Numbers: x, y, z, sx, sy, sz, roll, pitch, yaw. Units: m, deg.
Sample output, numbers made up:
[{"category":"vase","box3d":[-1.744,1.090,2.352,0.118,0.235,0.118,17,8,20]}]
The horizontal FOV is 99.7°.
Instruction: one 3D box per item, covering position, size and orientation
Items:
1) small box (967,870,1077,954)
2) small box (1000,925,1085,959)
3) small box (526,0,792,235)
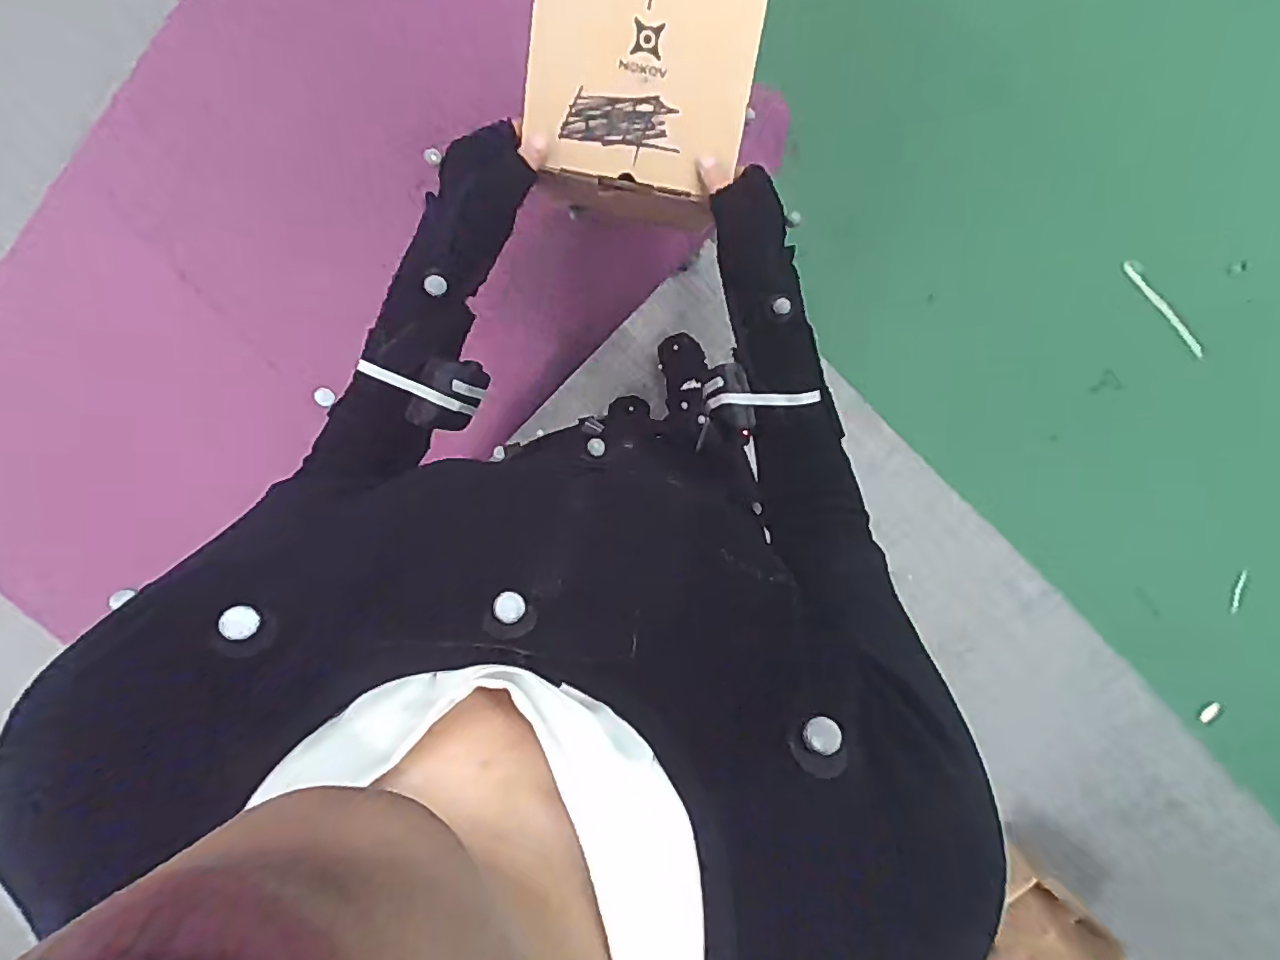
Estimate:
[{"category":"small box","box3d":[1.128,1.315,1.603,0.179,0.176,0.168,43,101,-8]},{"category":"small box","box3d":[1.124,1.354,1.445,0.179,0.176,0.168,41,102,-8]},{"category":"small box","box3d":[0.010,-0.325,0.463,0.168,0.176,0.179,12,108,-8]}]
